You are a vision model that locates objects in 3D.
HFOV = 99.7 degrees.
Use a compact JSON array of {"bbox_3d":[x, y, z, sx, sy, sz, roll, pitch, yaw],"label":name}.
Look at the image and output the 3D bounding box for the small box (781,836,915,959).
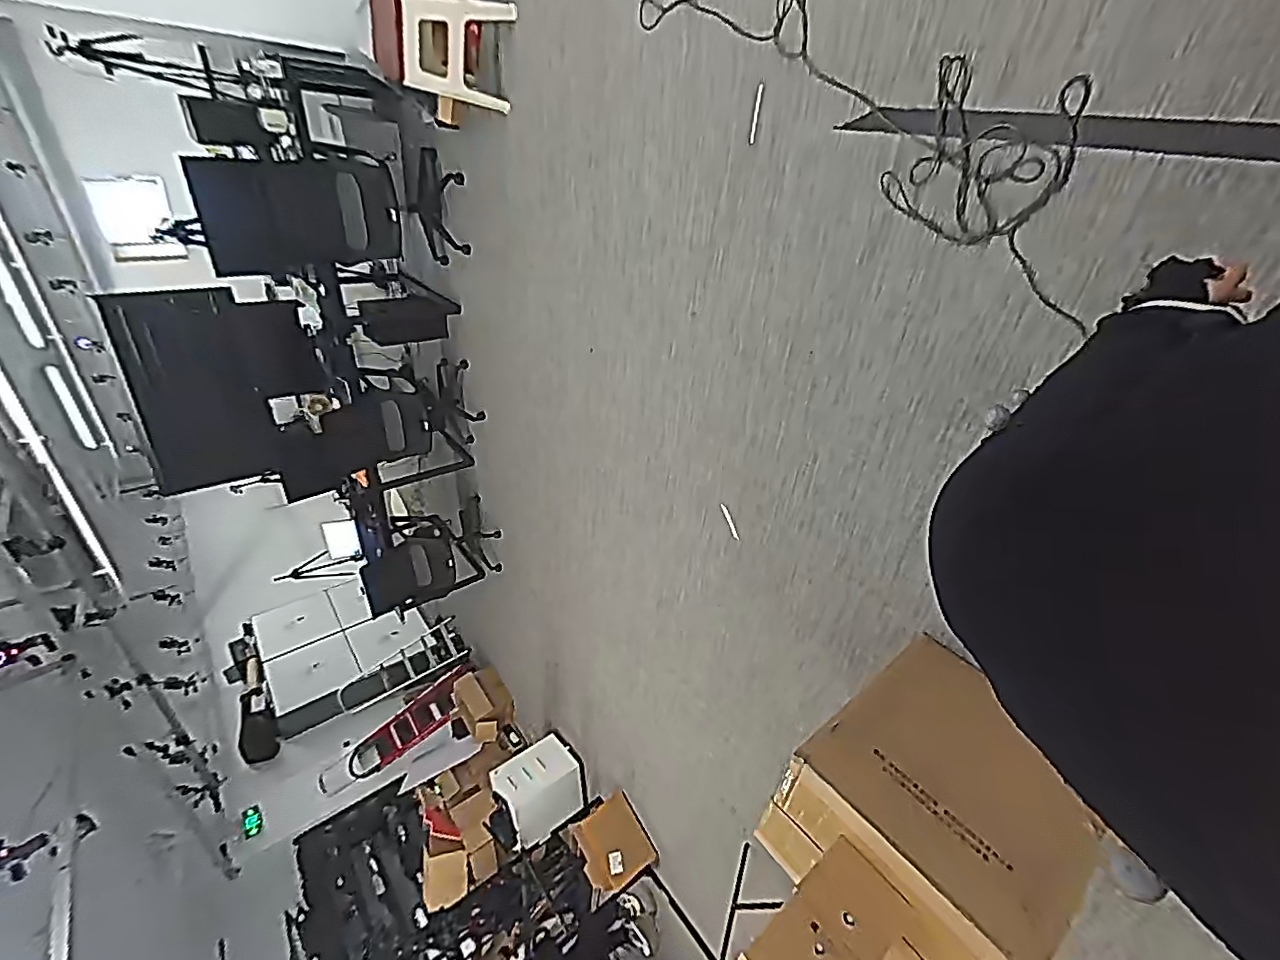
[{"bbox_3d":[0.428,0.892,1.116,0.179,0.176,0.168,38,134,39],"label":"small box"}]
